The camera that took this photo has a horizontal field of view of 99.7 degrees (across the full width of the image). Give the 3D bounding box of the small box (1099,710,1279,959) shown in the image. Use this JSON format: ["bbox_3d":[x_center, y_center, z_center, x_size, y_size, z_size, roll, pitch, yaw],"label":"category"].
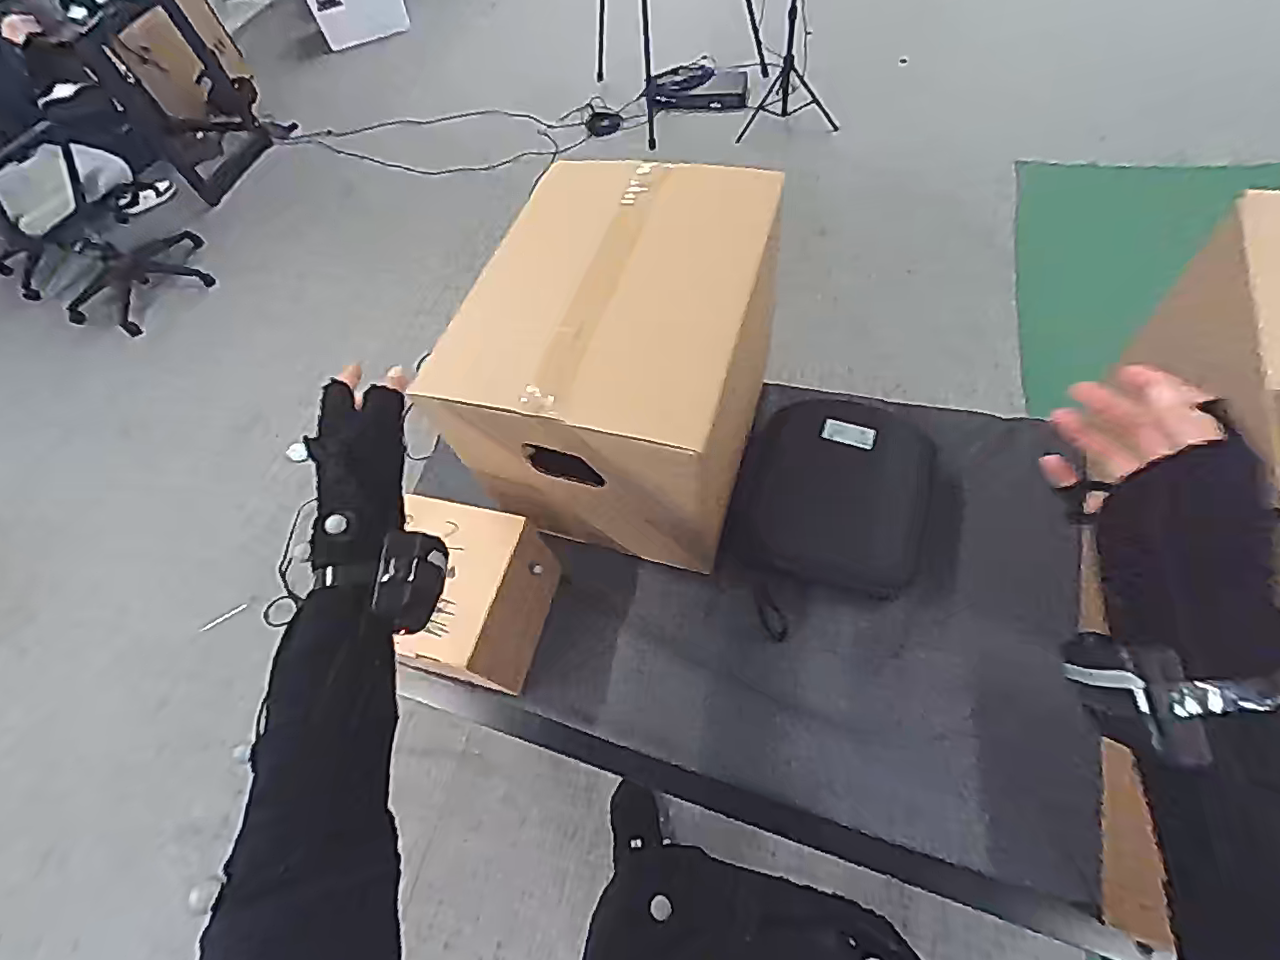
[{"bbox_3d":[0.528,0.319,0.455,0.168,0.176,0.179,15,65,17],"label":"small box"}]
